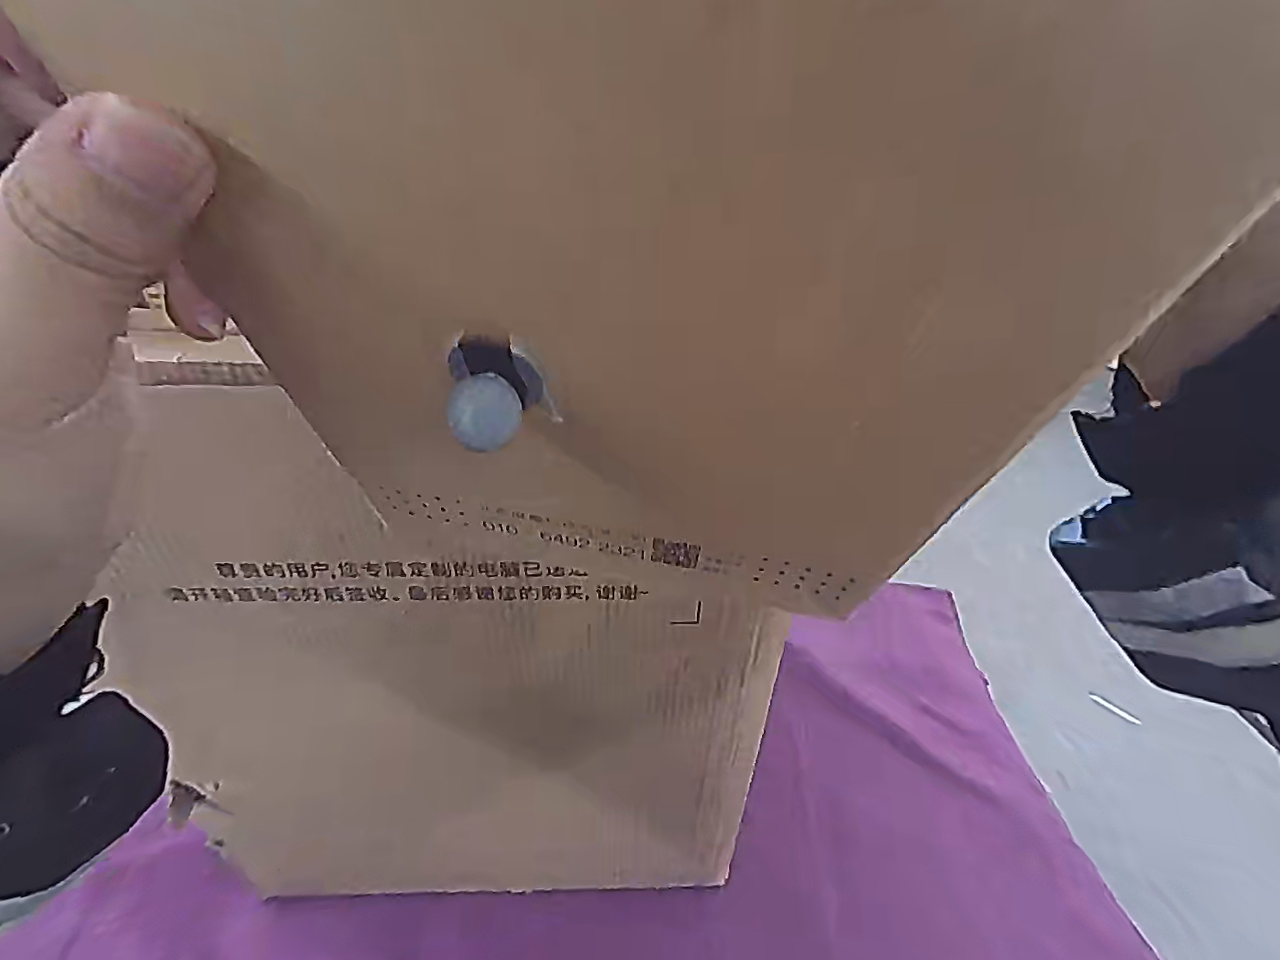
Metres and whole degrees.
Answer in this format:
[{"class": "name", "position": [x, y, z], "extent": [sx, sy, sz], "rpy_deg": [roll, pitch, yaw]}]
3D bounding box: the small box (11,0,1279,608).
[{"class": "small box", "position": [0.011, -0.079, 0.169], "extent": [0.168, 0.176, 0.179], "rpy_deg": [10, 55, 5]}]
